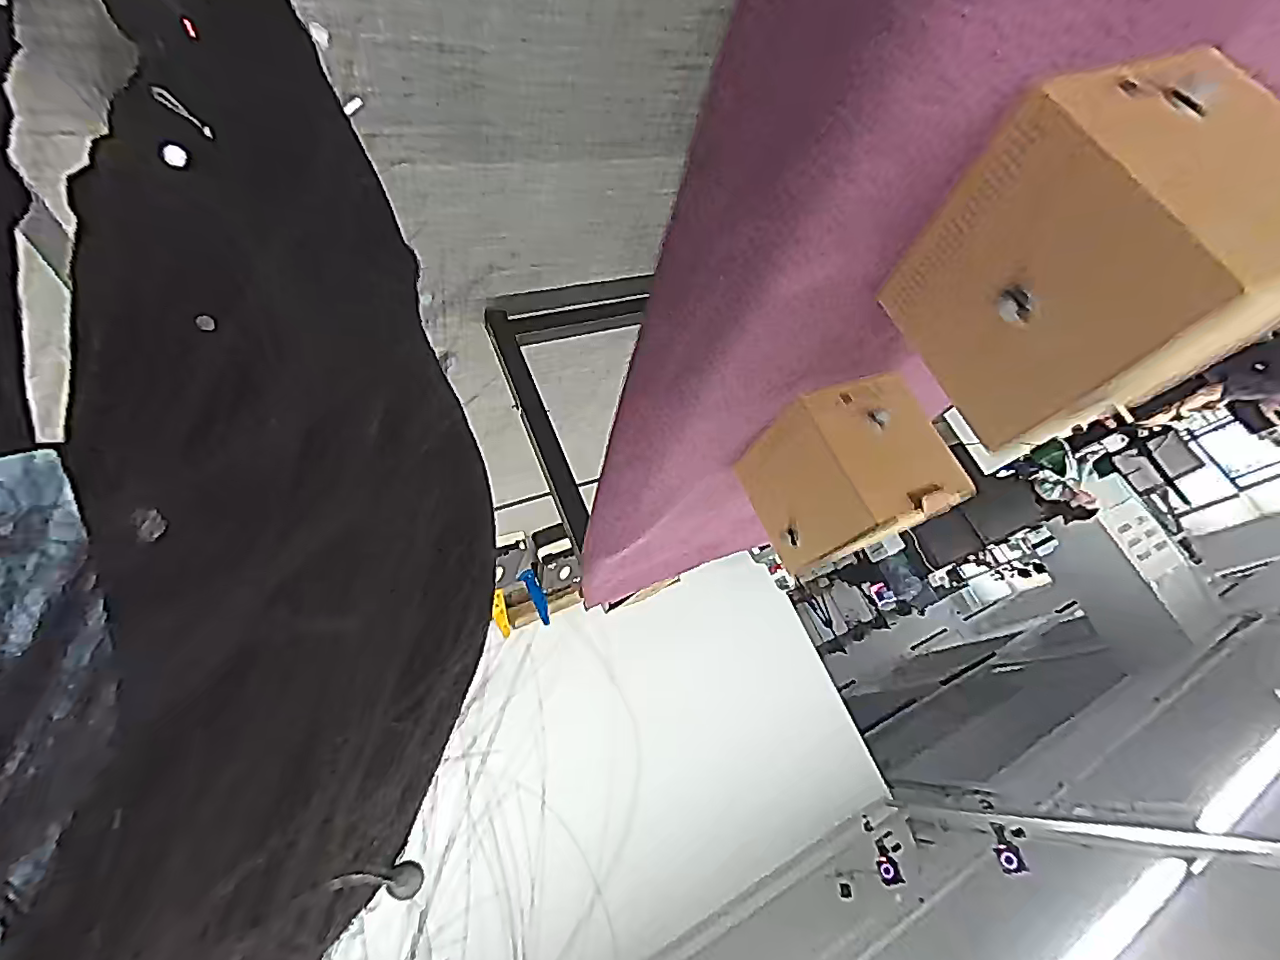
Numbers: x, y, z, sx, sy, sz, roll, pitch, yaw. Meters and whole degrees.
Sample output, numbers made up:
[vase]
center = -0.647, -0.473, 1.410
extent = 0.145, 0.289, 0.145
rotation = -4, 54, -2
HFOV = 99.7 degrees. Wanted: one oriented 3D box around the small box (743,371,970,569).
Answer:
[small box]
center = 0.254, -0.012, 0.683
extent = 0.168, 0.176, 0.179
rotation = -16, 159, -26
